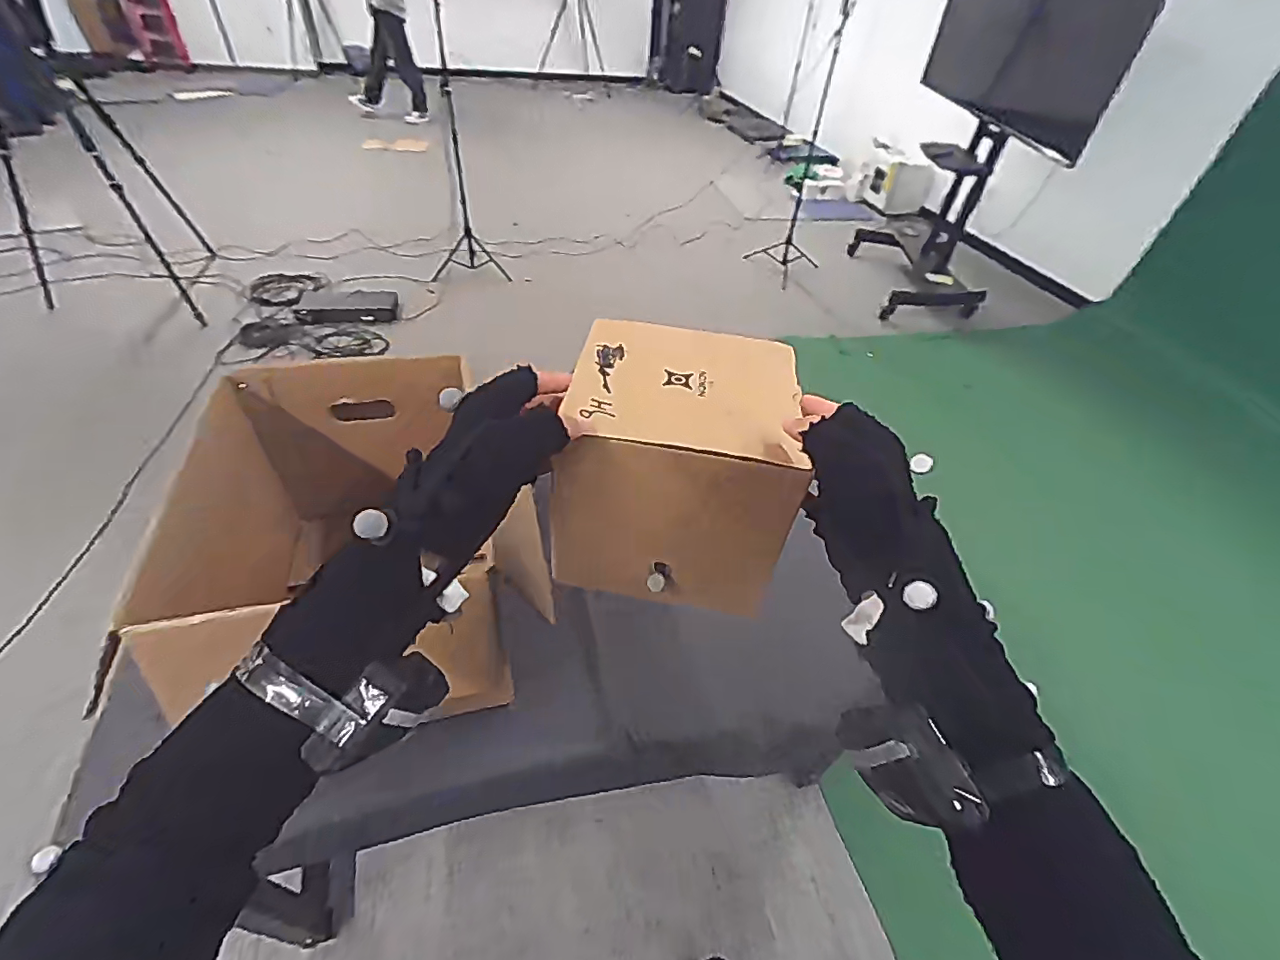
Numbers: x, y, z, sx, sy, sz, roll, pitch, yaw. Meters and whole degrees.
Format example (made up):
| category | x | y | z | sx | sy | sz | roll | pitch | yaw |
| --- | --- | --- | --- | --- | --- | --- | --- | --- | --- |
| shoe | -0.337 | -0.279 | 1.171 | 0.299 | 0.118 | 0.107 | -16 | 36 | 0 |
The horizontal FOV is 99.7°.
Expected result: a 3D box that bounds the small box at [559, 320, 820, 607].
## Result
| category | x | y | z | sx | sy | sz | roll | pitch | yaw |
| --- | --- | --- | --- | --- | --- | --- | --- | --- | --- |
| small box | 0.035 | -0.012 | 0.469 | 0.179 | 0.176 | 0.168 | 10 | 42 | 1 |
